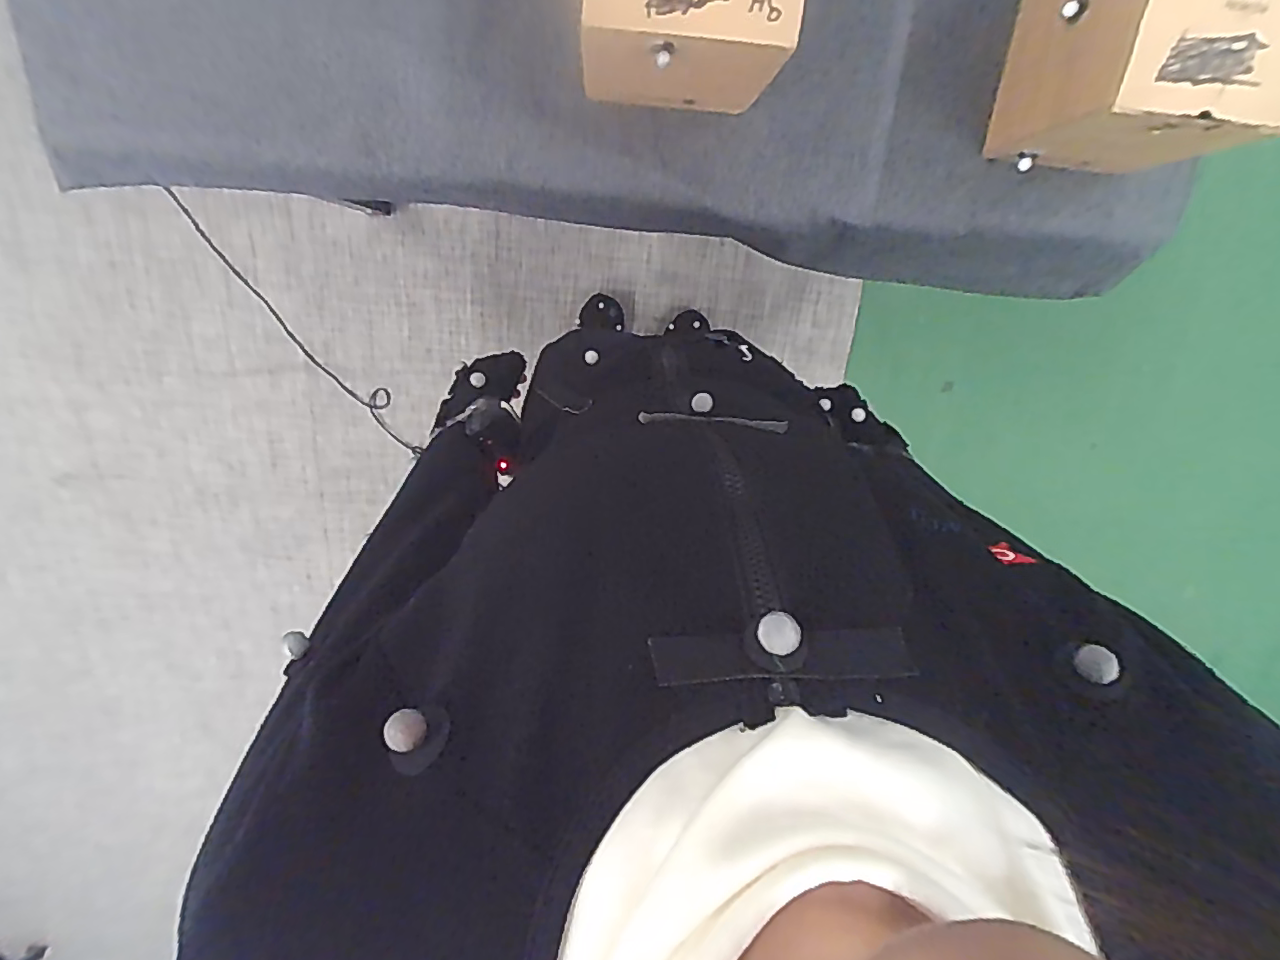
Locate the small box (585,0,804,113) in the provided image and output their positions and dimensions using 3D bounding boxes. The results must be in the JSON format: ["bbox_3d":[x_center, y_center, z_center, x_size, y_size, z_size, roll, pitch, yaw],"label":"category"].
[{"bbox_3d":[0.041,-0.444,0.455,0.168,0.176,0.179,3,109,-5],"label":"small box"}]

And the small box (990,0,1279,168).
[{"bbox_3d":[0.464,-0.404,0.494,0.168,0.176,0.179,4,108,-5],"label":"small box"}]
